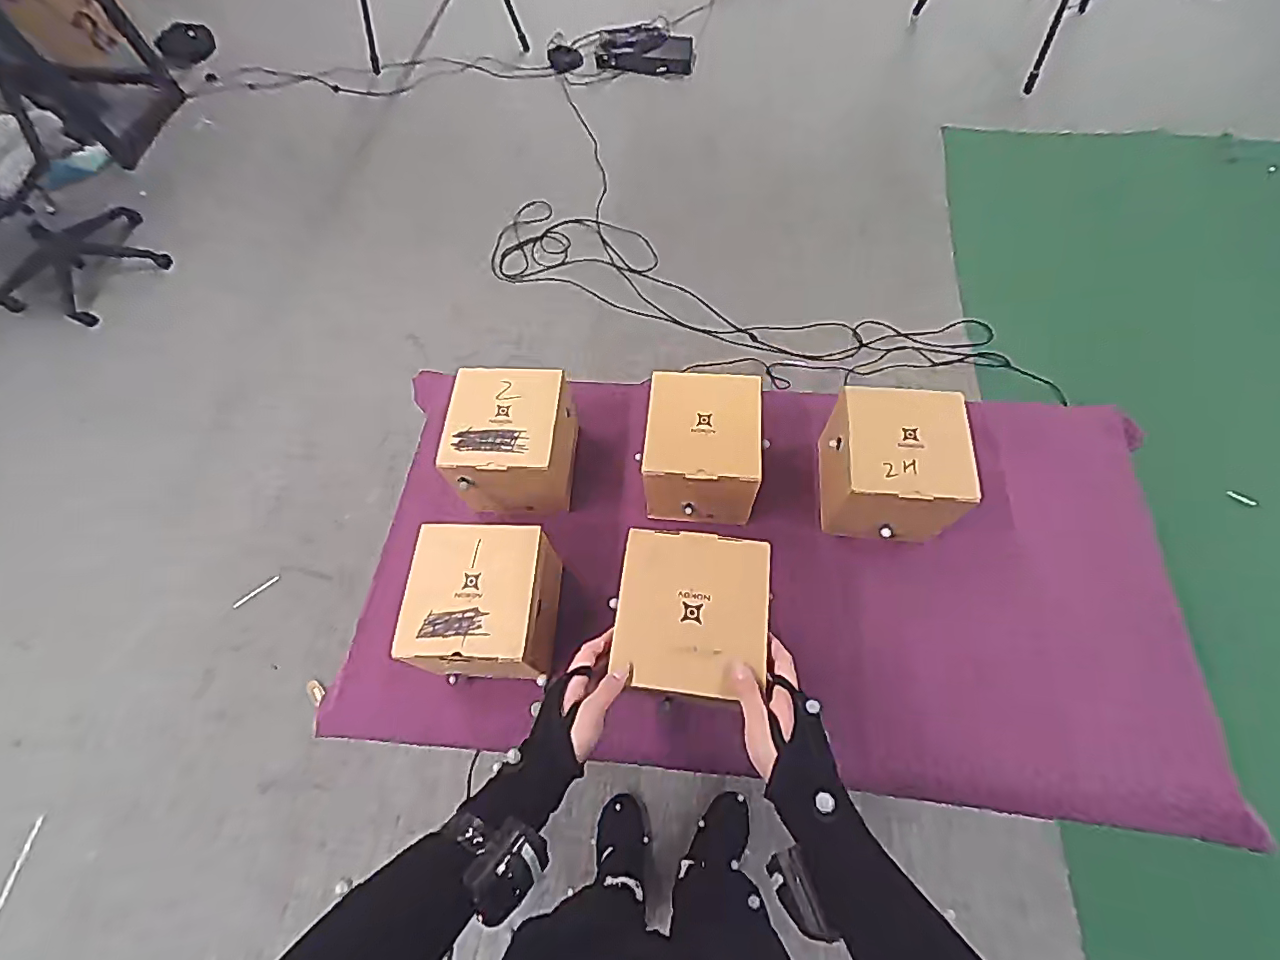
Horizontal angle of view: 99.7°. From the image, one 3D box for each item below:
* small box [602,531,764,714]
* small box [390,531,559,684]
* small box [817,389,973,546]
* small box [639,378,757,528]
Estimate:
[{"bbox_3d":[0.056,0.180,0.667,0.168,0.176,0.179,5,65,7],"label":"small box"},{"bbox_3d":[-0.216,0.185,0.762,0.168,0.176,0.179,1,62,5],"label":"small box"},{"bbox_3d":[0.369,-0.016,0.820,0.168,0.176,0.179,4,65,7],"label":"small box"},{"bbox_3d":[0.091,-0.039,0.855,0.168,0.176,0.179,3,65,6],"label":"small box"}]
